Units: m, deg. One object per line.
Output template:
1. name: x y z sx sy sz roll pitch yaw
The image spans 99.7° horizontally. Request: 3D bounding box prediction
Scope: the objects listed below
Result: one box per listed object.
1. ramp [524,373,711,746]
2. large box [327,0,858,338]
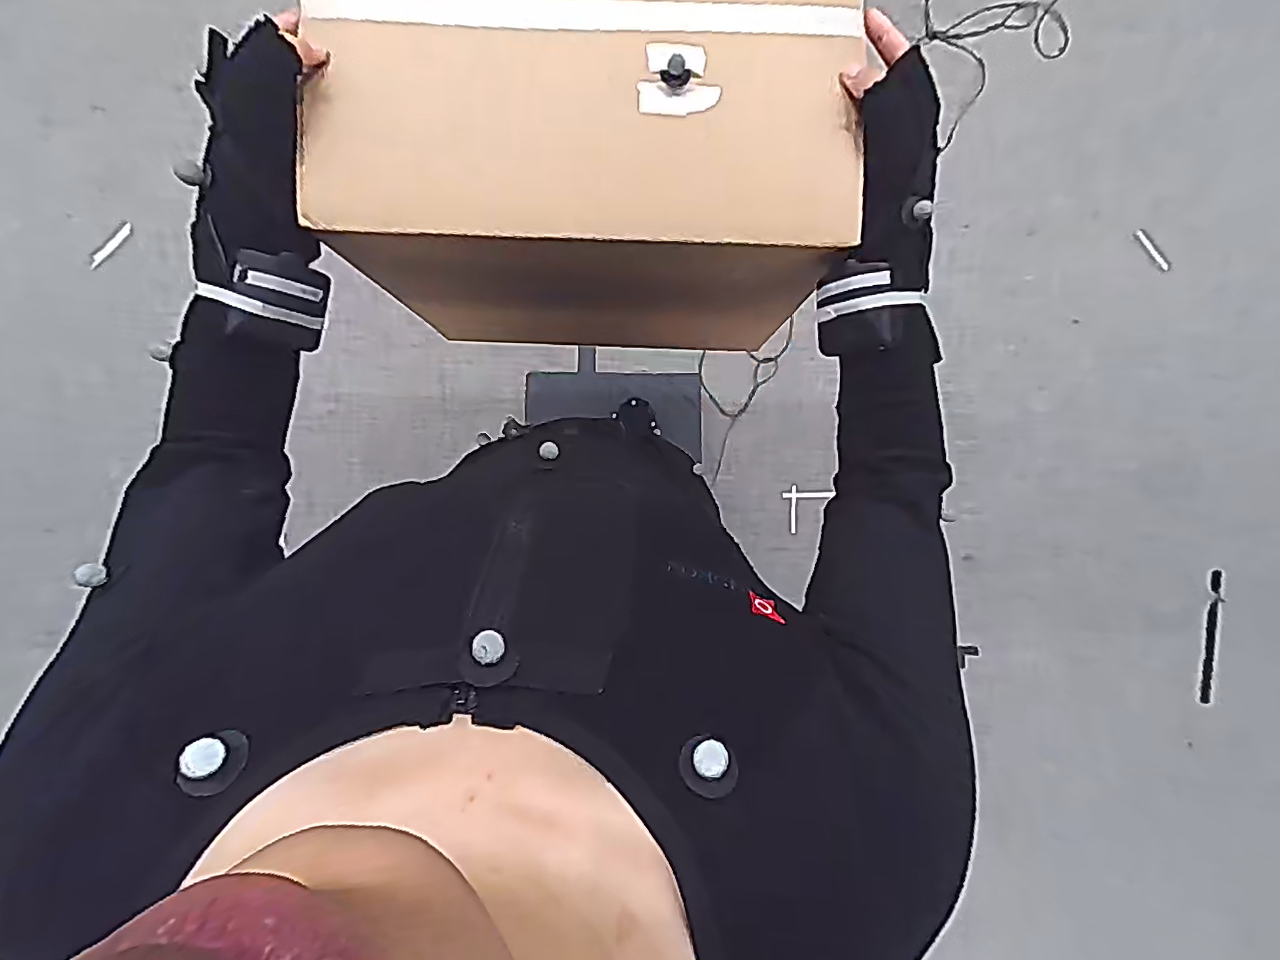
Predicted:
1. ramp: -0.062 0.192 1.468 0.509 0.206 0.991 -2 92 1
2. large box: -0.037 -0.340 0.556 0.408 0.320 0.320 1 90 -1
